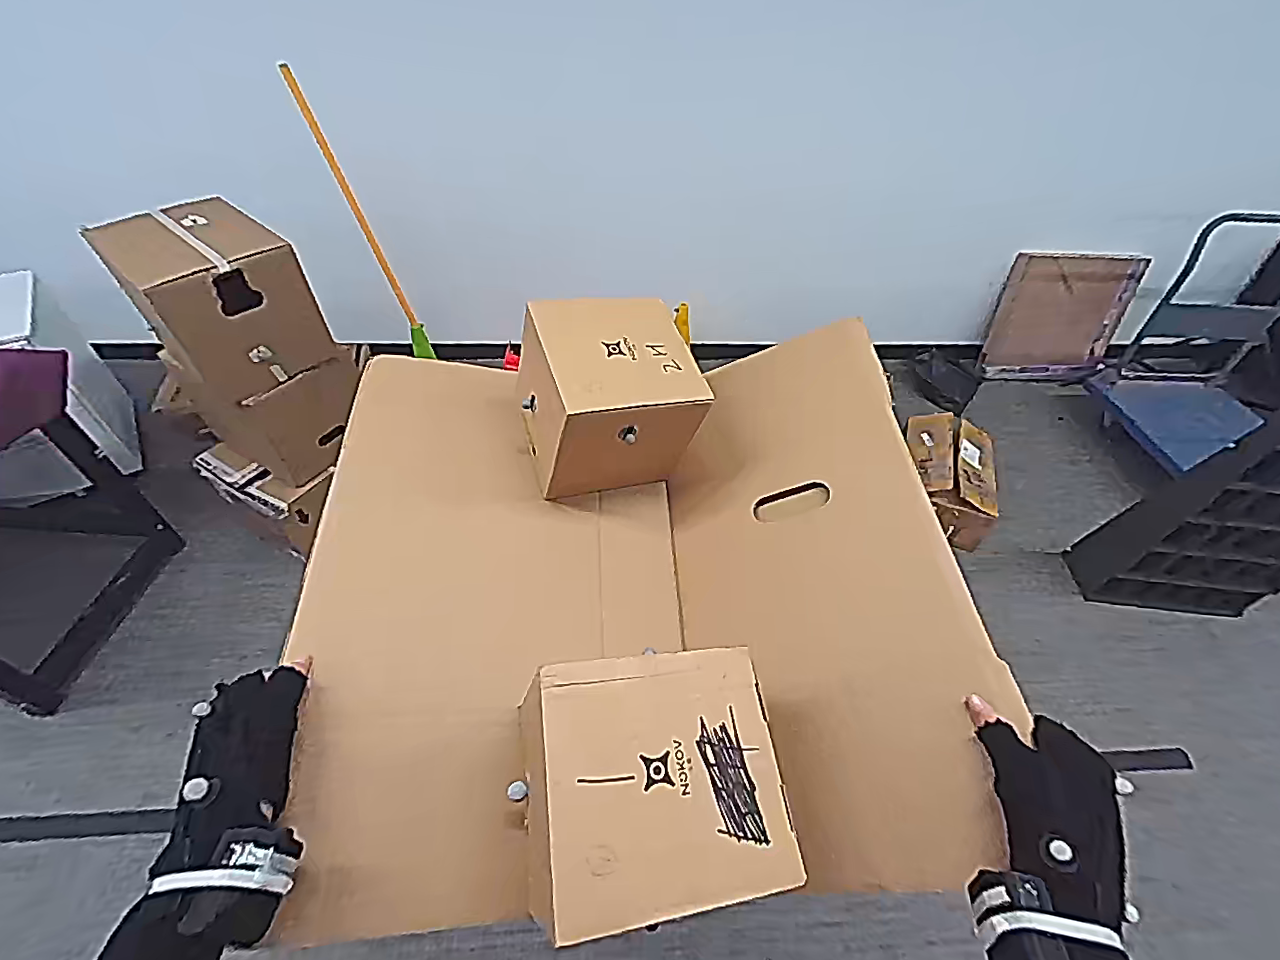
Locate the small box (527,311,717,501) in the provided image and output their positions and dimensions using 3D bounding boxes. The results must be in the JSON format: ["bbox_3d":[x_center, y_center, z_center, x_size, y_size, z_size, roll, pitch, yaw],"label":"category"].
[{"bbox_3d":[-0.037,-0.088,0.669,0.179,0.176,0.168,-8,61,-24],"label":"small box"}]

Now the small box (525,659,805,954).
[{"bbox_3d":[0.002,0.257,0.452,0.179,0.176,0.168,1,58,-17],"label":"small box"}]
